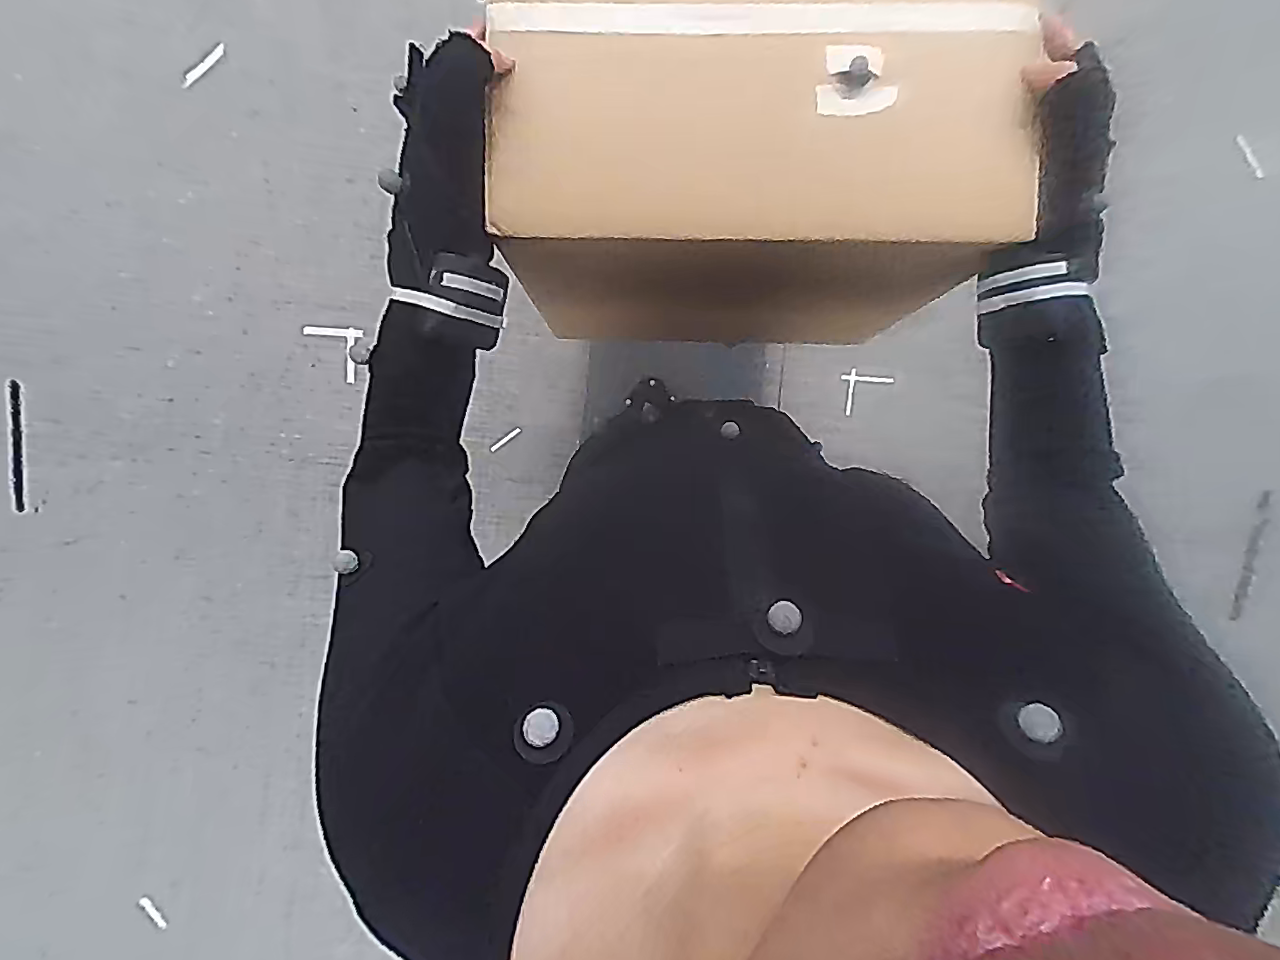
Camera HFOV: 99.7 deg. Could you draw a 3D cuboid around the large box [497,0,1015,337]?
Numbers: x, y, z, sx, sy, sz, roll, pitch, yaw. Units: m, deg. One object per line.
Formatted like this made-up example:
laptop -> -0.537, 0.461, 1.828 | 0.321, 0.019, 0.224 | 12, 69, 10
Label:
large box -> 0.086, -0.342, 0.563 | 0.408, 0.320, 0.320 | 1, 91, 0
